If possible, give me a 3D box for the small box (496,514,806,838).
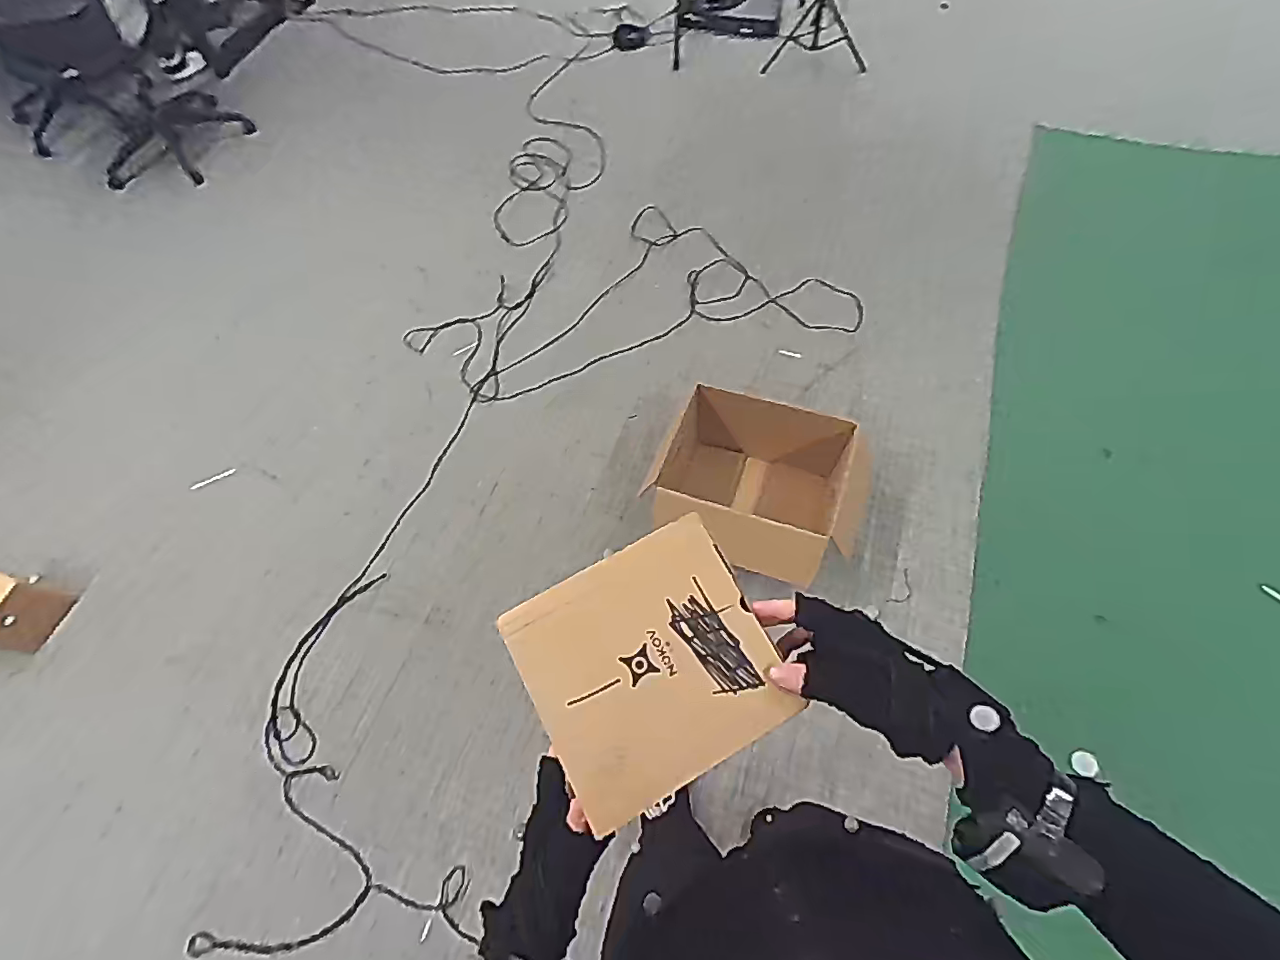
[{"bbox_3d":[0.003,0.152,0.462,0.179,0.176,0.168,-26,75,-10],"label":"small box"}]

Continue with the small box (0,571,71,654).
[{"bbox_3d":[-1.723,0.353,1.464,0.168,0.176,0.179,15,67,11],"label":"small box"}]
